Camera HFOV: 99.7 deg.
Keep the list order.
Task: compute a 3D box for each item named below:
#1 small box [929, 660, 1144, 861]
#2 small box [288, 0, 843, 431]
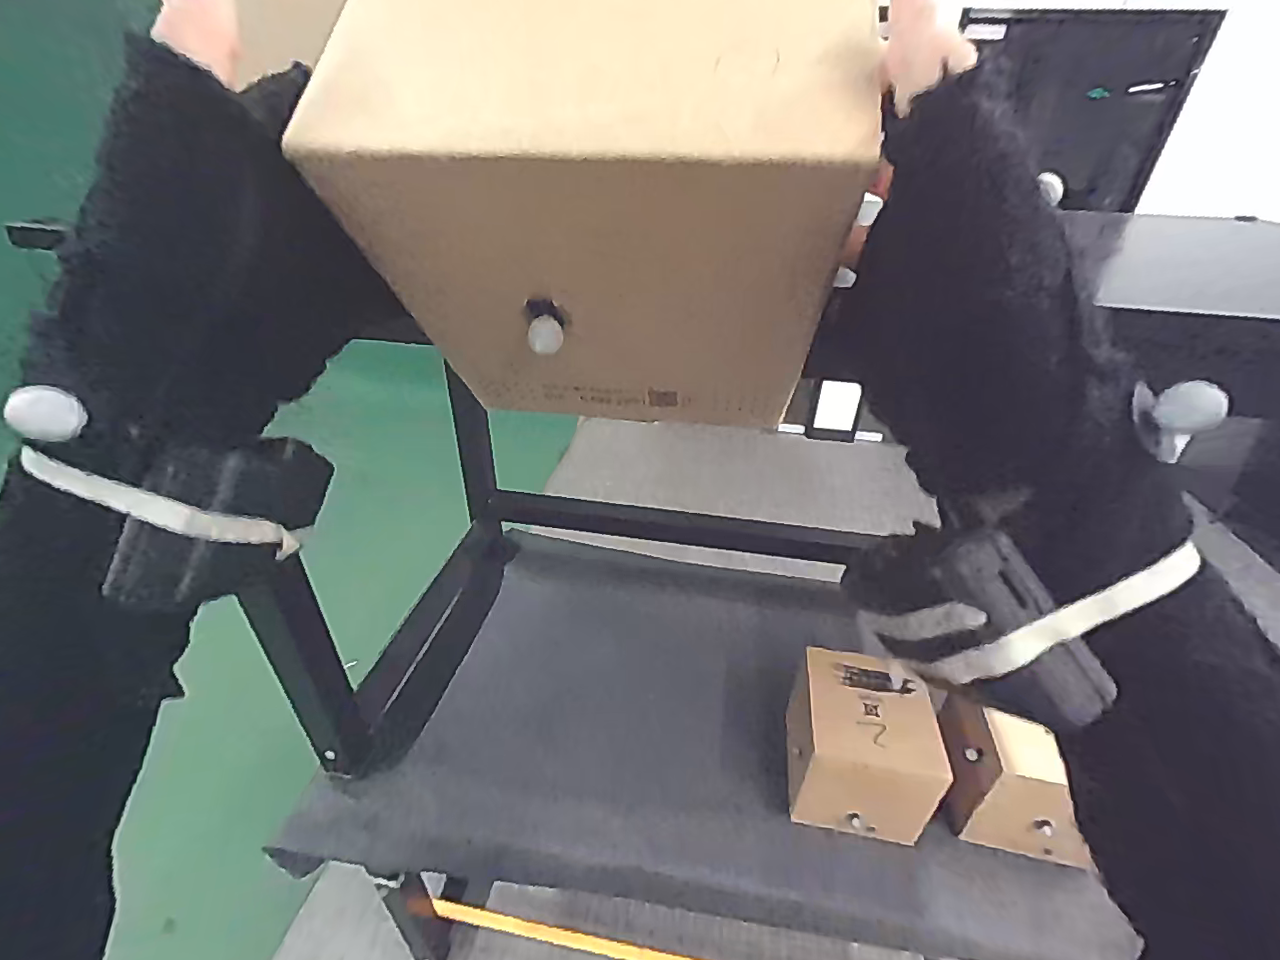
[{"bbox_3d":[0.532,0.391,0.759,0.168,0.176,0.179,8,32,10],"label":"small box"},{"bbox_3d":[-0.009,-0.135,0.253,0.168,0.176,0.179,5,71,7],"label":"small box"}]
